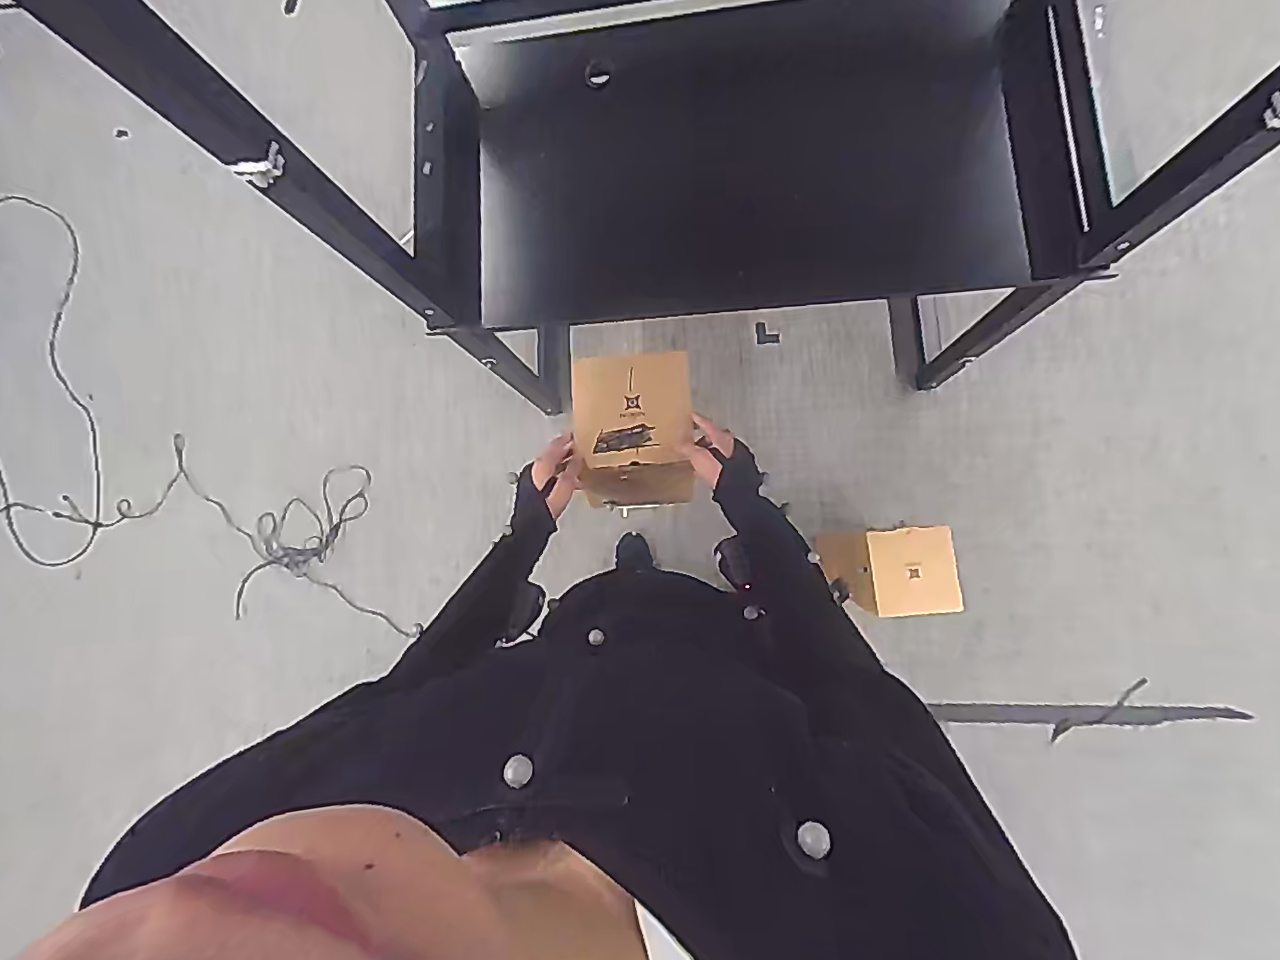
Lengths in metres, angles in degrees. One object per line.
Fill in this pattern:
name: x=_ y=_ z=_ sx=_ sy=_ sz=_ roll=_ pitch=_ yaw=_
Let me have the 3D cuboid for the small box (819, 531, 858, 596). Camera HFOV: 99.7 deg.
small box: x=0.606 y=0.224 z=1.488 sx=0.179 sy=0.176 sz=0.168 roll=-5 pitch=82 yaw=8

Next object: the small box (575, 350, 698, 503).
small box: x=0.000 y=-0.069 z=0.811 sx=0.168 sy=0.176 sz=0.179 roll=-4 pitch=68 yaw=3

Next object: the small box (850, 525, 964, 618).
small box: x=0.565 y=0.192 z=1.165 sx=0.168 sy=0.176 sz=0.179 roll=-7 pitch=82 yaw=7
